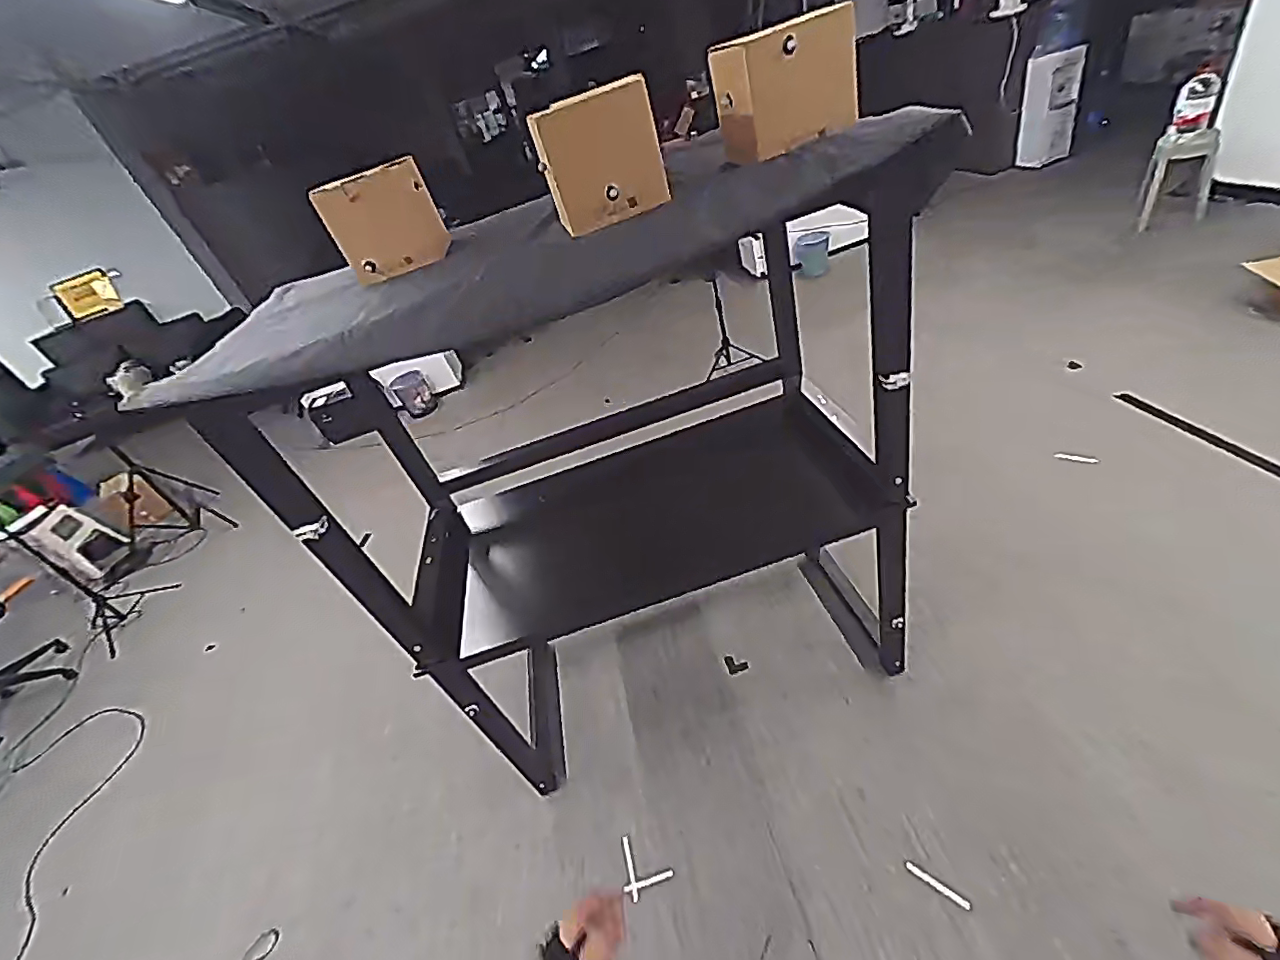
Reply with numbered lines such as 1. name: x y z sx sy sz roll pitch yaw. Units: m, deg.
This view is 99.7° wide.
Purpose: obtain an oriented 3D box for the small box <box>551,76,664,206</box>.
1. small box: -0.064 -0.649 1.043 0.168 0.176 0.179 -19 36 2

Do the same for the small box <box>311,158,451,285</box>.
1. small box: -0.485 -0.497 1.046 0.168 0.176 0.179 -19 36 1
